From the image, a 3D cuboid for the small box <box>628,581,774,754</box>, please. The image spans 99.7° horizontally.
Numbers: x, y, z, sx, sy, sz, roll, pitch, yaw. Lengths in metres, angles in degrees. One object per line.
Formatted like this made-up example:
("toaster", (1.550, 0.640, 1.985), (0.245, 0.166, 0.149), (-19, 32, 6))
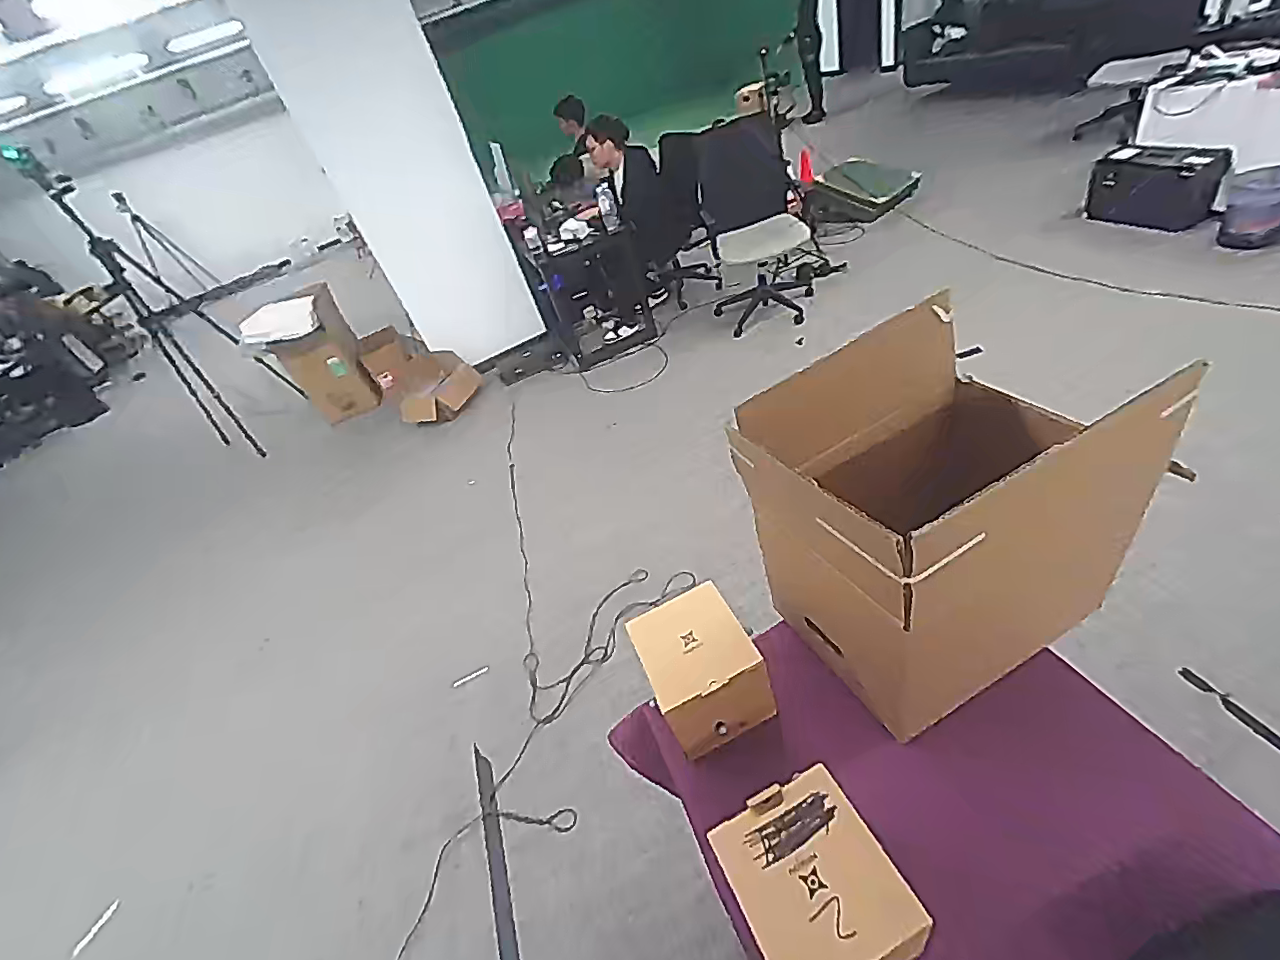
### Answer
("small box", (0.100, 0.307, 0.887), (0.168, 0.176, 0.179), (-26, 40, -6))
